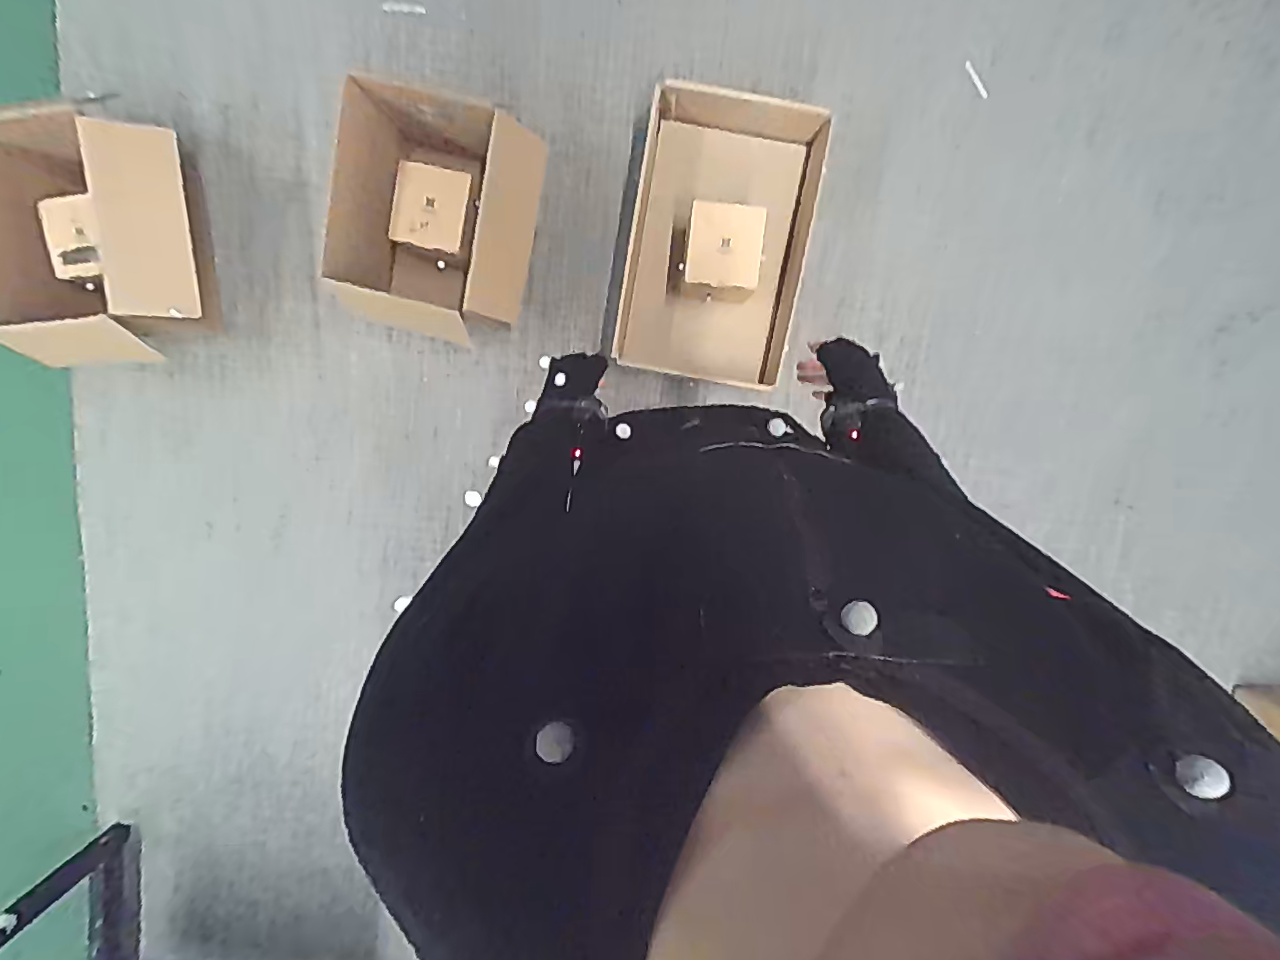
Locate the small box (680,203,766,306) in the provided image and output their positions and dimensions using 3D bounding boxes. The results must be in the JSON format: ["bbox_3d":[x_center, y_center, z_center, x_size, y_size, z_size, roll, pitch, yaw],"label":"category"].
[{"bbox_3d":[0.187,-0.522,1.269,0.168,0.176,0.179,5,98,0],"label":"small box"}]
